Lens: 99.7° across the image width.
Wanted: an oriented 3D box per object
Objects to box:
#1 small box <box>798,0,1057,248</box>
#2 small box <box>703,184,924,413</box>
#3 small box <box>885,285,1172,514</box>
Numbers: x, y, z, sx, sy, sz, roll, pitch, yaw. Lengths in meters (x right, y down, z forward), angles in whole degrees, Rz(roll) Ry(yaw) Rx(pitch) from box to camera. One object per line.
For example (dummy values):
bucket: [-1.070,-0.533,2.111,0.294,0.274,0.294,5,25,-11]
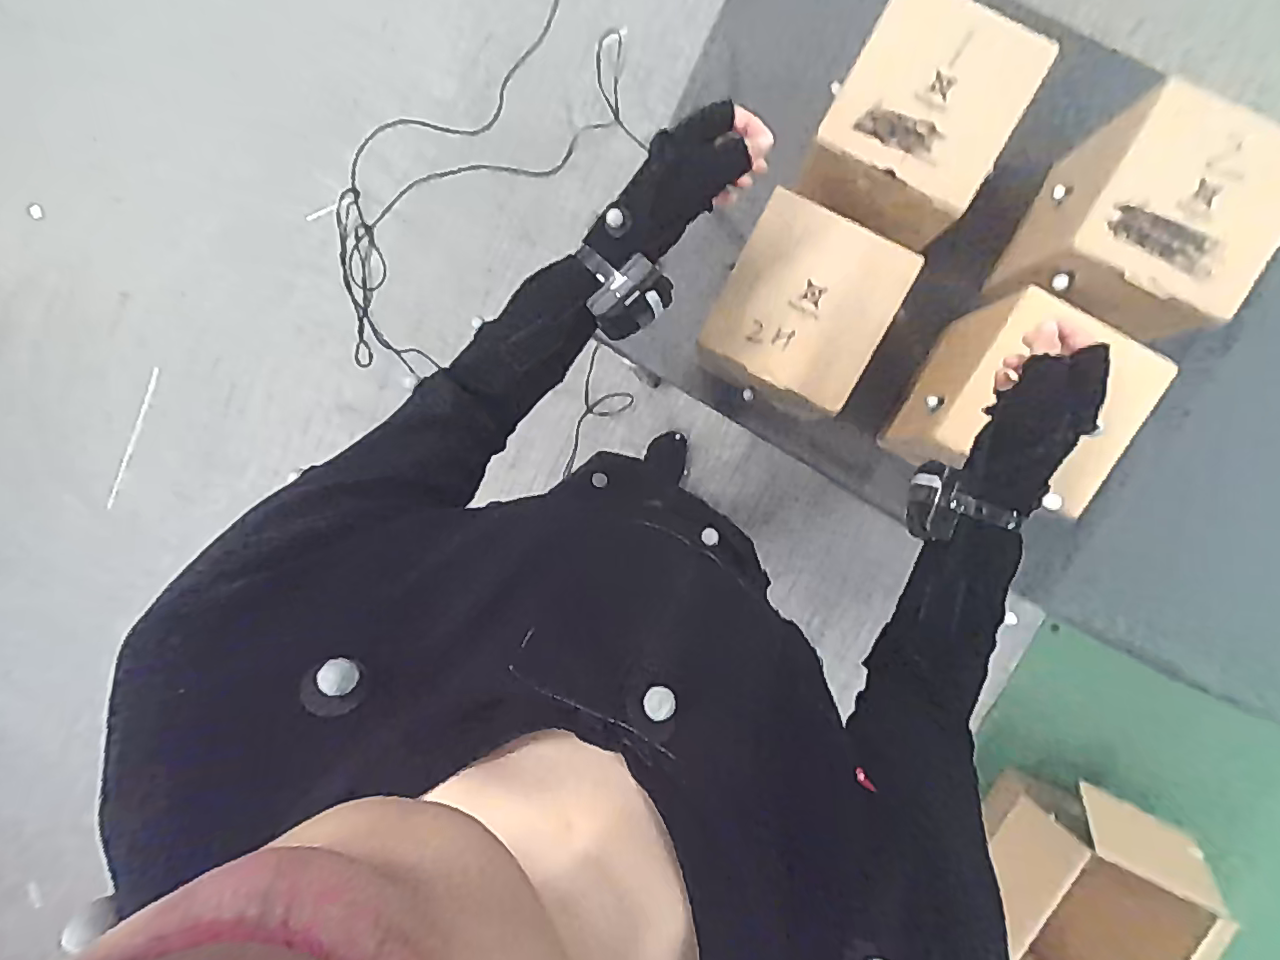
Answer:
small box: [0.296,-0.383,0.607,0.168,0.176,0.179,30,96,2]
small box: [0.180,-0.192,0.628,0.168,0.176,0.179,29,97,3]
small box: [0.416,-0.085,0.618,0.168,0.176,0.179,31,96,2]
